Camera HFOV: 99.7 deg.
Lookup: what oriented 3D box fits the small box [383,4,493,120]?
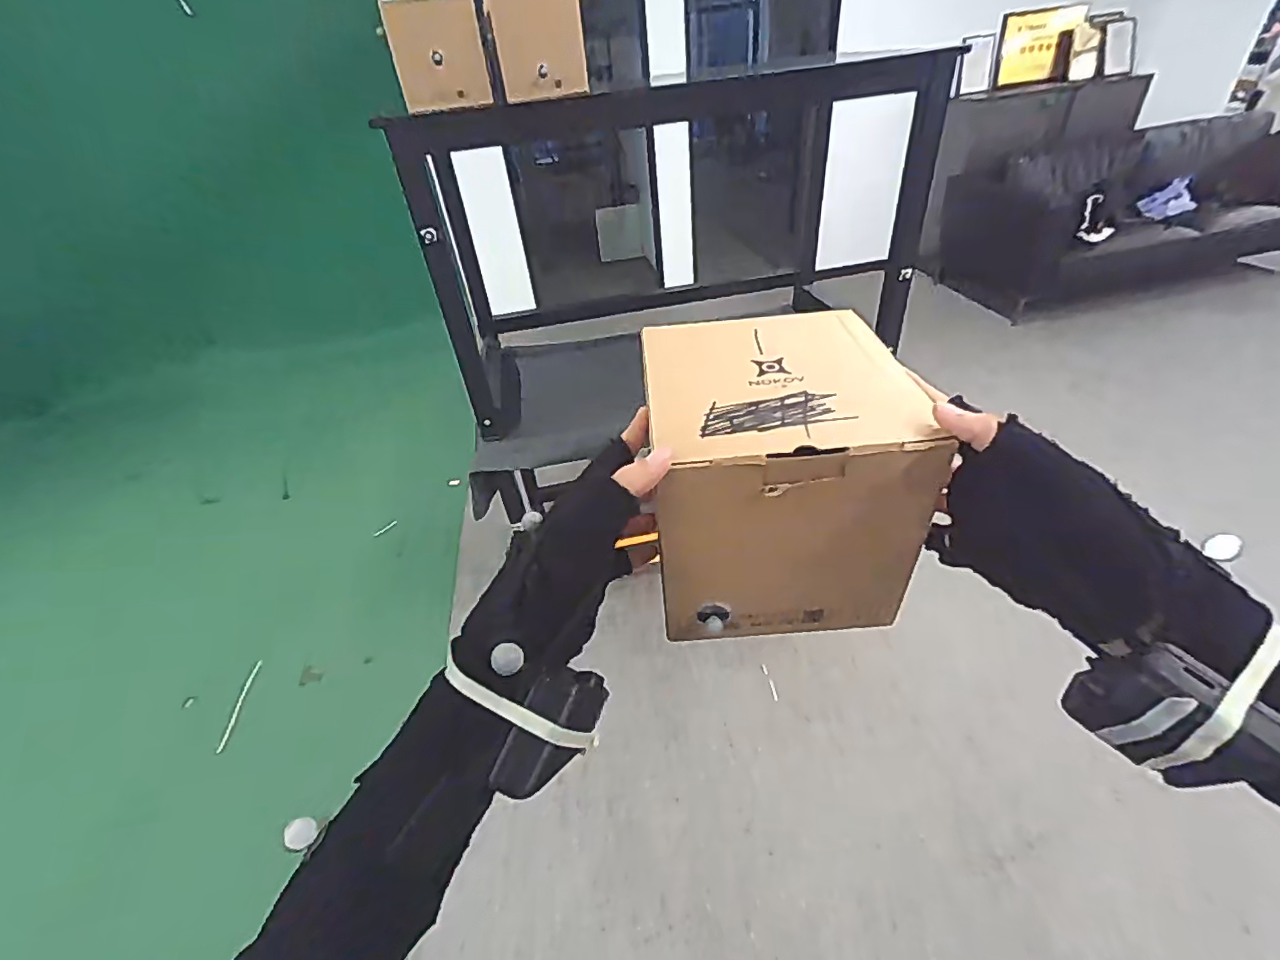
[{"bbox_3d":[-0.403,-0.840,1.097,0.168,0.176,0.179,-14,37,-12],"label":"small box"}]

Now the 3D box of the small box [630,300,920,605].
[{"bbox_3d":[0.082,-0.018,0.415,0.168,0.176,0.179,-5,39,2],"label":"small box"}]
